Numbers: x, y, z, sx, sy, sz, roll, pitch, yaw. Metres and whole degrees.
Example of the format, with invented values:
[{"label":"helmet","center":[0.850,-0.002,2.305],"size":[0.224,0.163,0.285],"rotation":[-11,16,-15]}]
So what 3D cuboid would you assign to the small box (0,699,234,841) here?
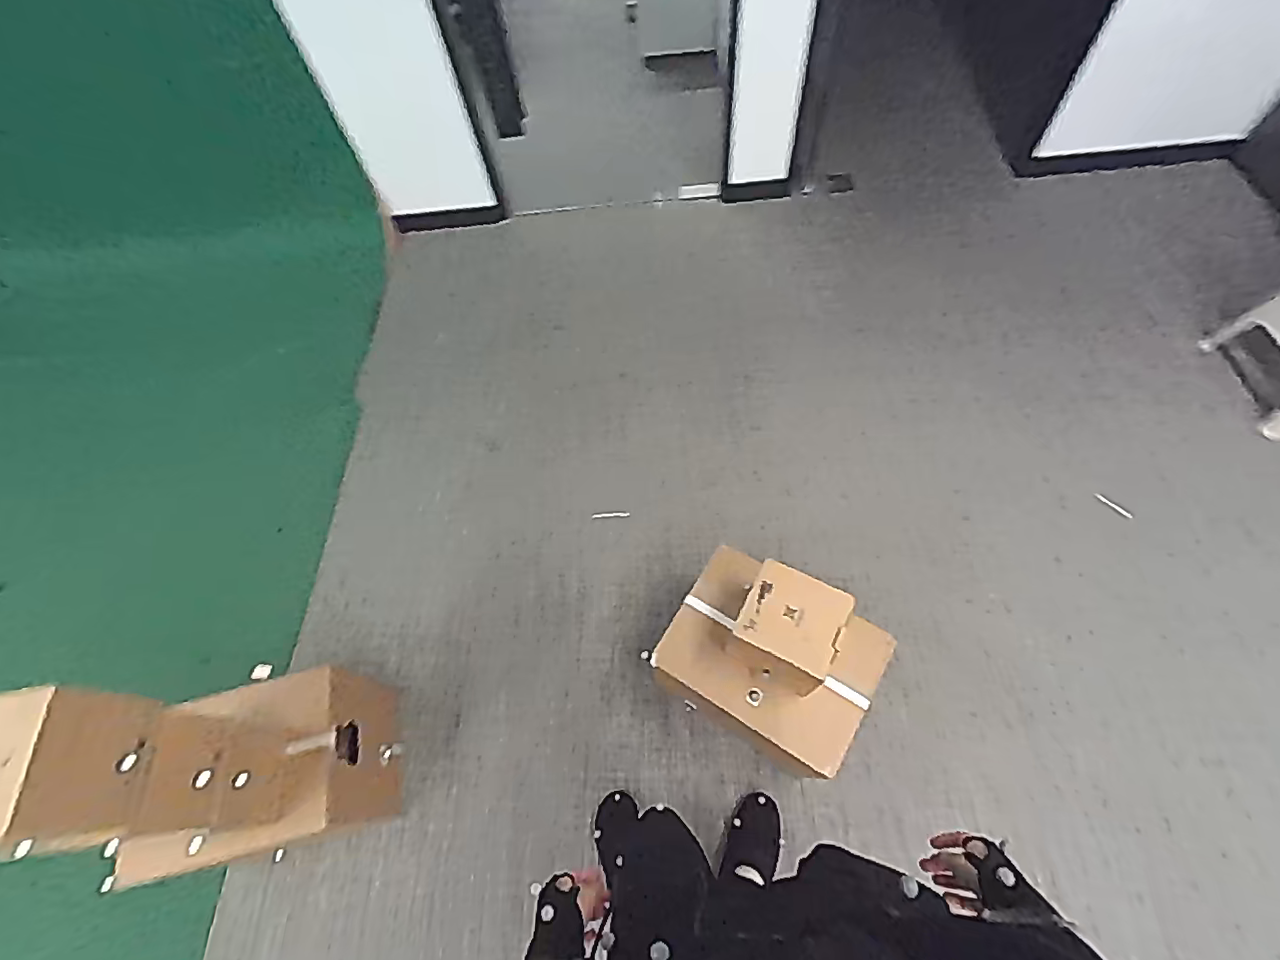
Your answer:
[{"label":"small box","center":[-0.792,0.449,0.840],"size":[0.179,0.176,0.168],"rotation":[-8,61,-1]}]

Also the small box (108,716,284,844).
[{"label":"small box","center":[-0.783,0.533,0.978],"size":[0.168,0.176,0.179],"rotation":[-9,61,-1]}]

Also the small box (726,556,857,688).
[{"label":"small box","center":[0.280,0.278,1.033],"size":[0.179,0.176,0.168],"rotation":[26,64,16]}]

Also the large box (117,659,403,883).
[{"label":"large box","center":[-0.798,0.632,1.206],"size":[0.408,0.320,0.320],"rotation":[-15,60,-2]}]
